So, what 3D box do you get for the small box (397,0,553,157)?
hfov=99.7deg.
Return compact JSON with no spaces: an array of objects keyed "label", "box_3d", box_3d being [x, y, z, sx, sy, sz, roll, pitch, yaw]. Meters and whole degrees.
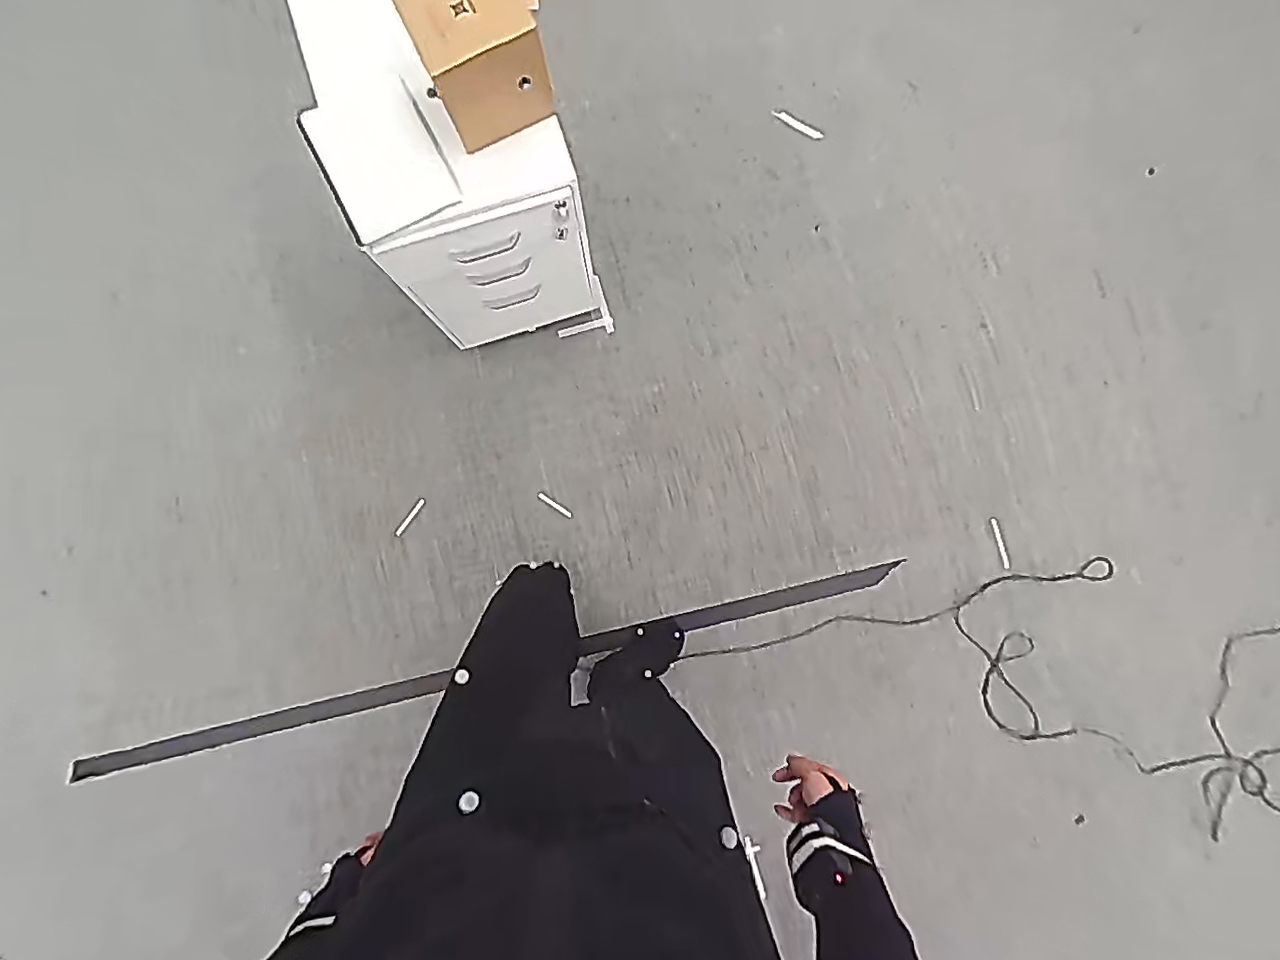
[{"label":"small box","box_3d":[-0.253,-0.678,0.879,0.179,0.176,0.168,-26,85,-2]}]
